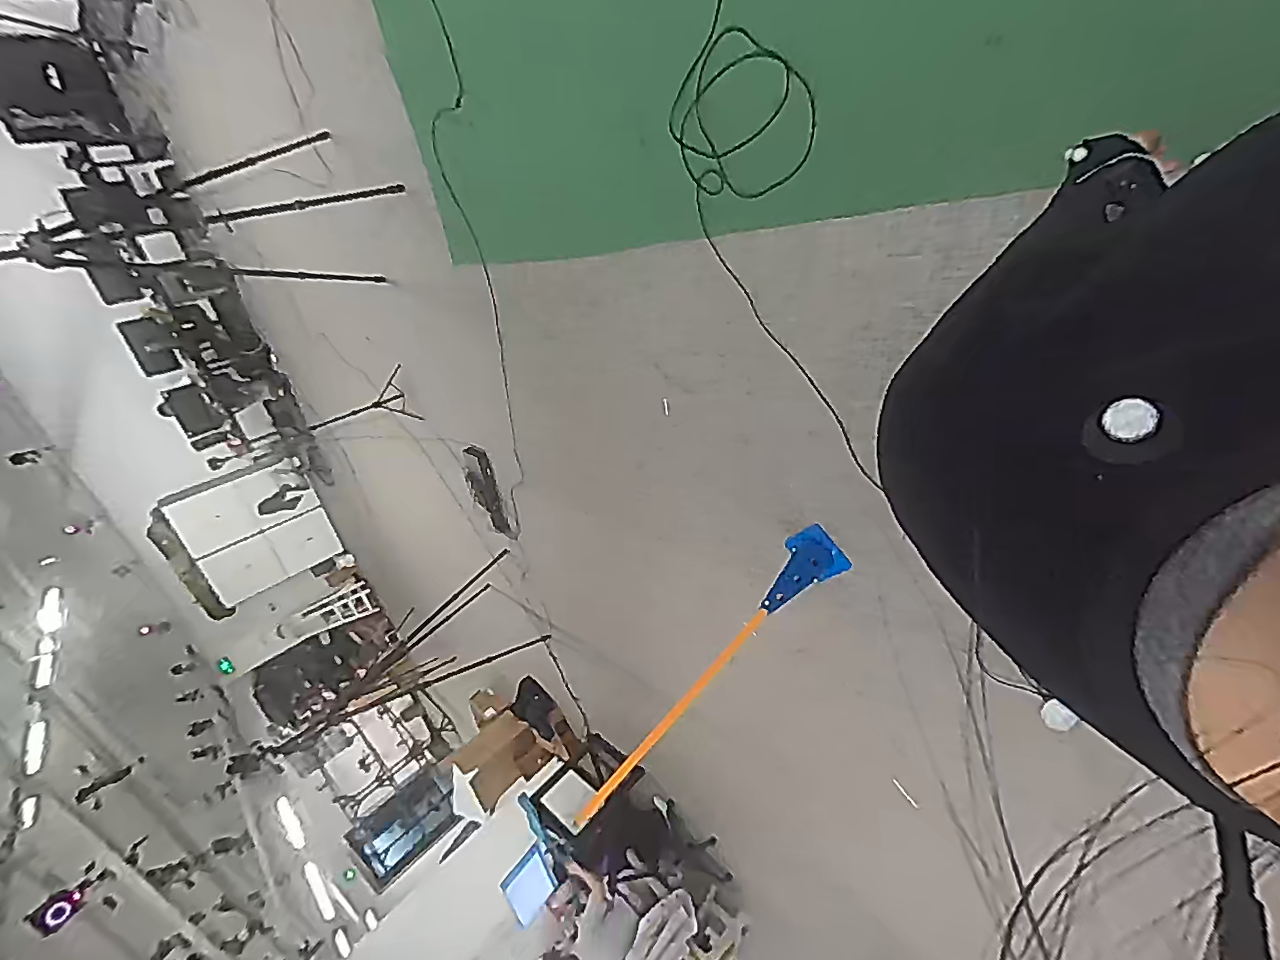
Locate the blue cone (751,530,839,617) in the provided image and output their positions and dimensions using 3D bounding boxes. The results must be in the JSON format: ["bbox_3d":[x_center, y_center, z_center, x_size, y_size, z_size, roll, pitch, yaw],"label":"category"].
[{"bbox_3d":[0.518,0.364,1.907,0.192,0.380,0.193,50,145,8],"label":"blue cone"}]
